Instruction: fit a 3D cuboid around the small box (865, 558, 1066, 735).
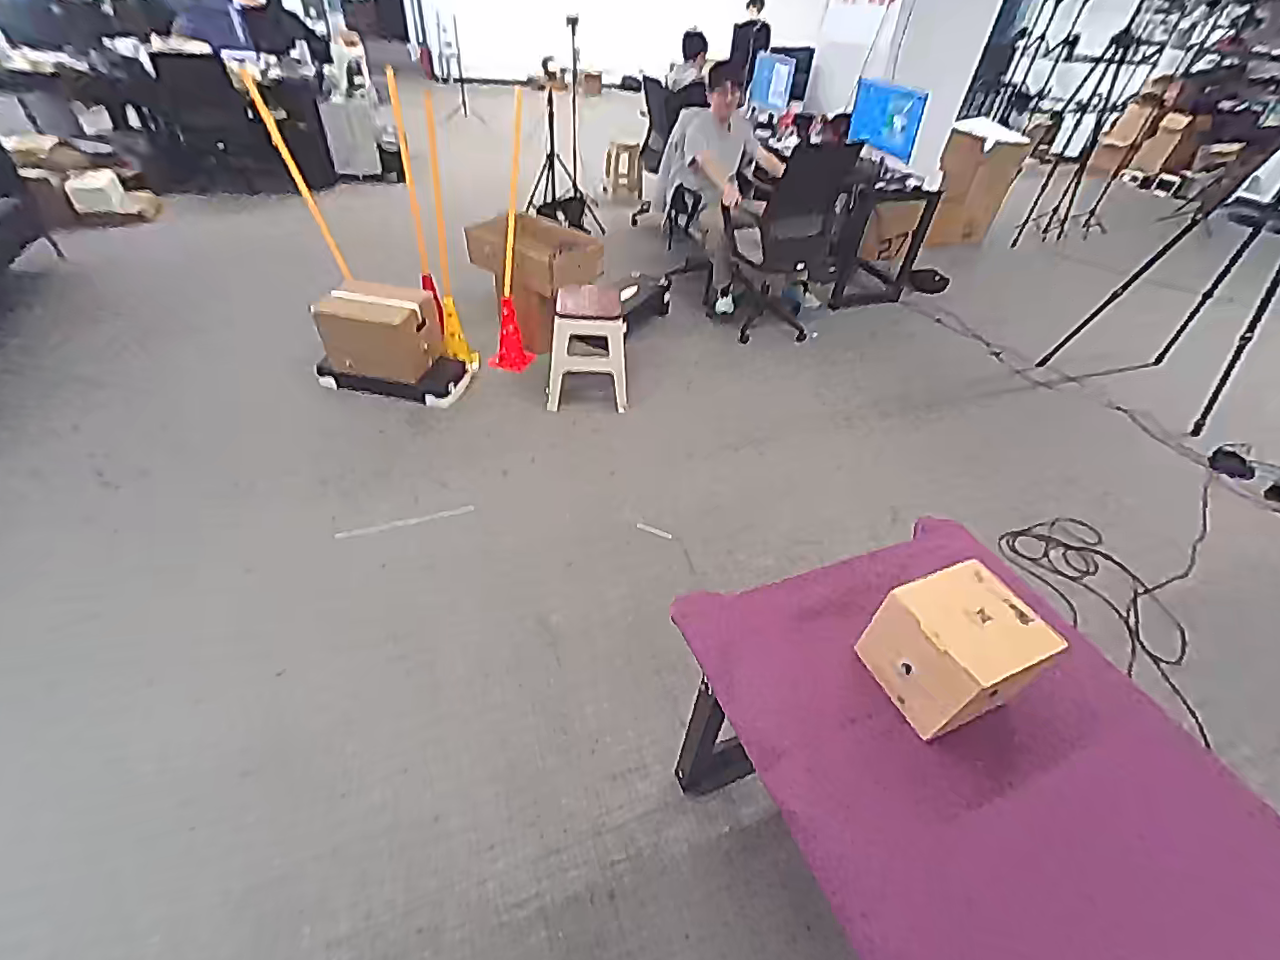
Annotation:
[{"bbox_3d":[0.468,0.252,0.815,0.179,0.176,0.168,-14,46,-19],"label":"small box"}]
